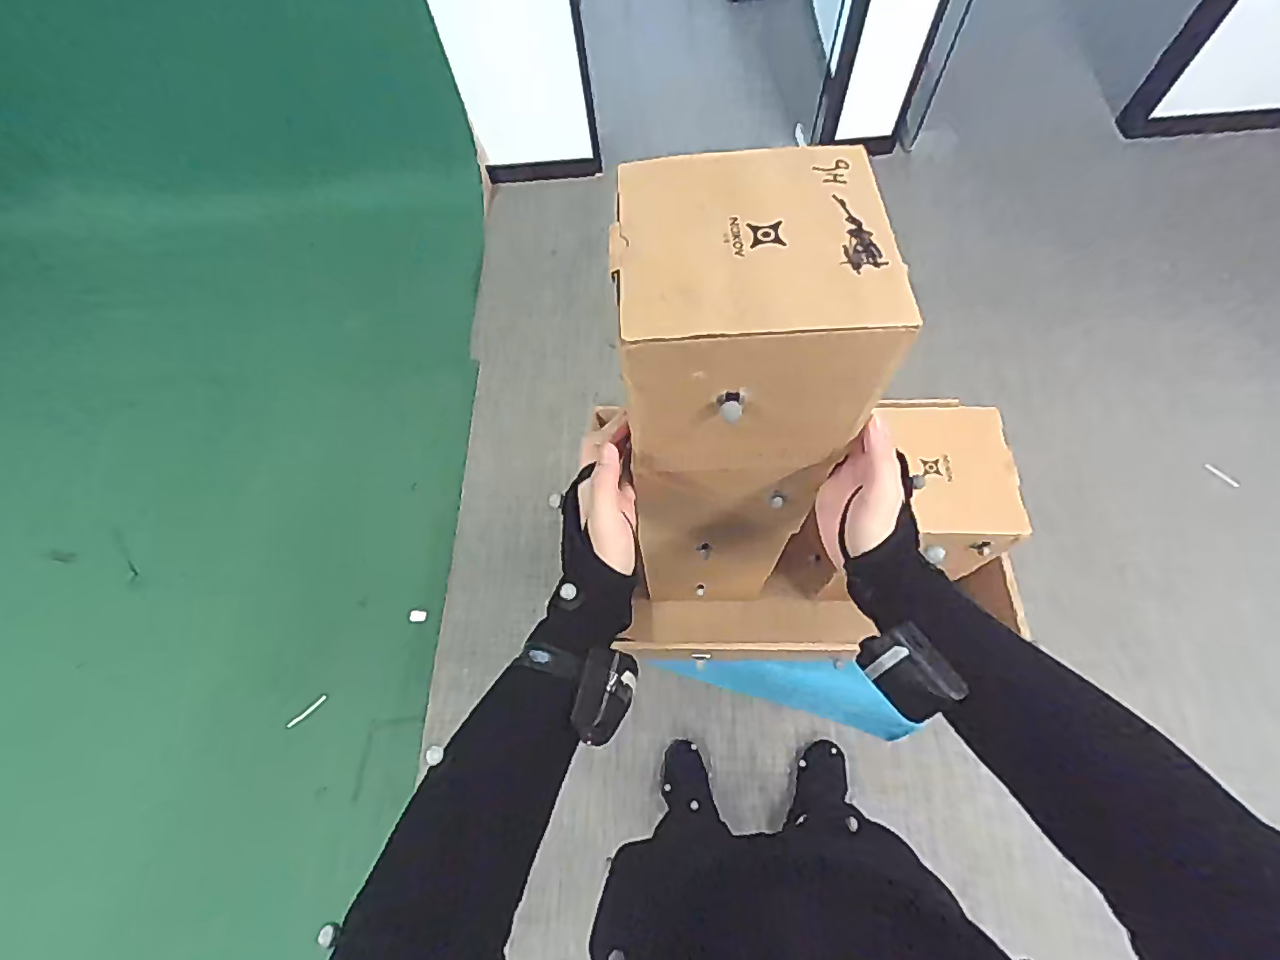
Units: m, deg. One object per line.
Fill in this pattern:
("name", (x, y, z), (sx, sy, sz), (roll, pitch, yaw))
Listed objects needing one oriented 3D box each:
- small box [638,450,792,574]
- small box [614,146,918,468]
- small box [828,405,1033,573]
("small box", (0.092, 0.023, 0.712), (0.179, 0.176, 0.168), (-1, 64, 4))
("small box", (0.078, -0.118, 0.416), (0.179, 0.176, 0.168), (-3, 64, 3))
("small box", (0.349, 0.019, 0.696), (0.179, 0.176, 0.168), (0, 65, 5))
